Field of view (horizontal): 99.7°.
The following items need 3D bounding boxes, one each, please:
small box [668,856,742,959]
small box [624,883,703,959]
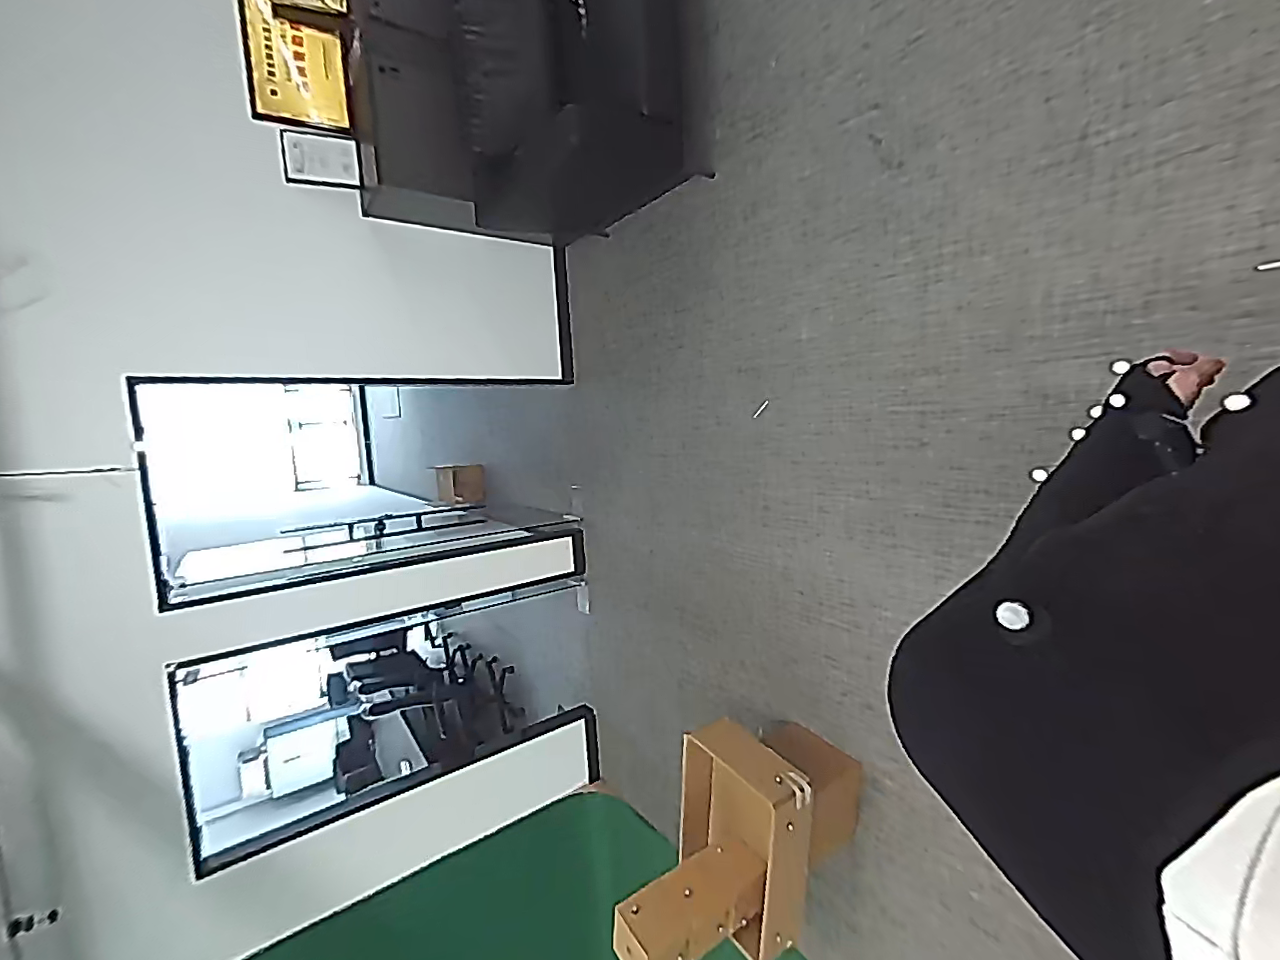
[{"bbox_3d":[0.204,1.363,1.744,0.179,0.176,0.168,18,111,50],"label":"small box"},{"bbox_3d":[0.070,1.383,1.649,0.179,0.176,0.168,19,113,50],"label":"small box"}]
